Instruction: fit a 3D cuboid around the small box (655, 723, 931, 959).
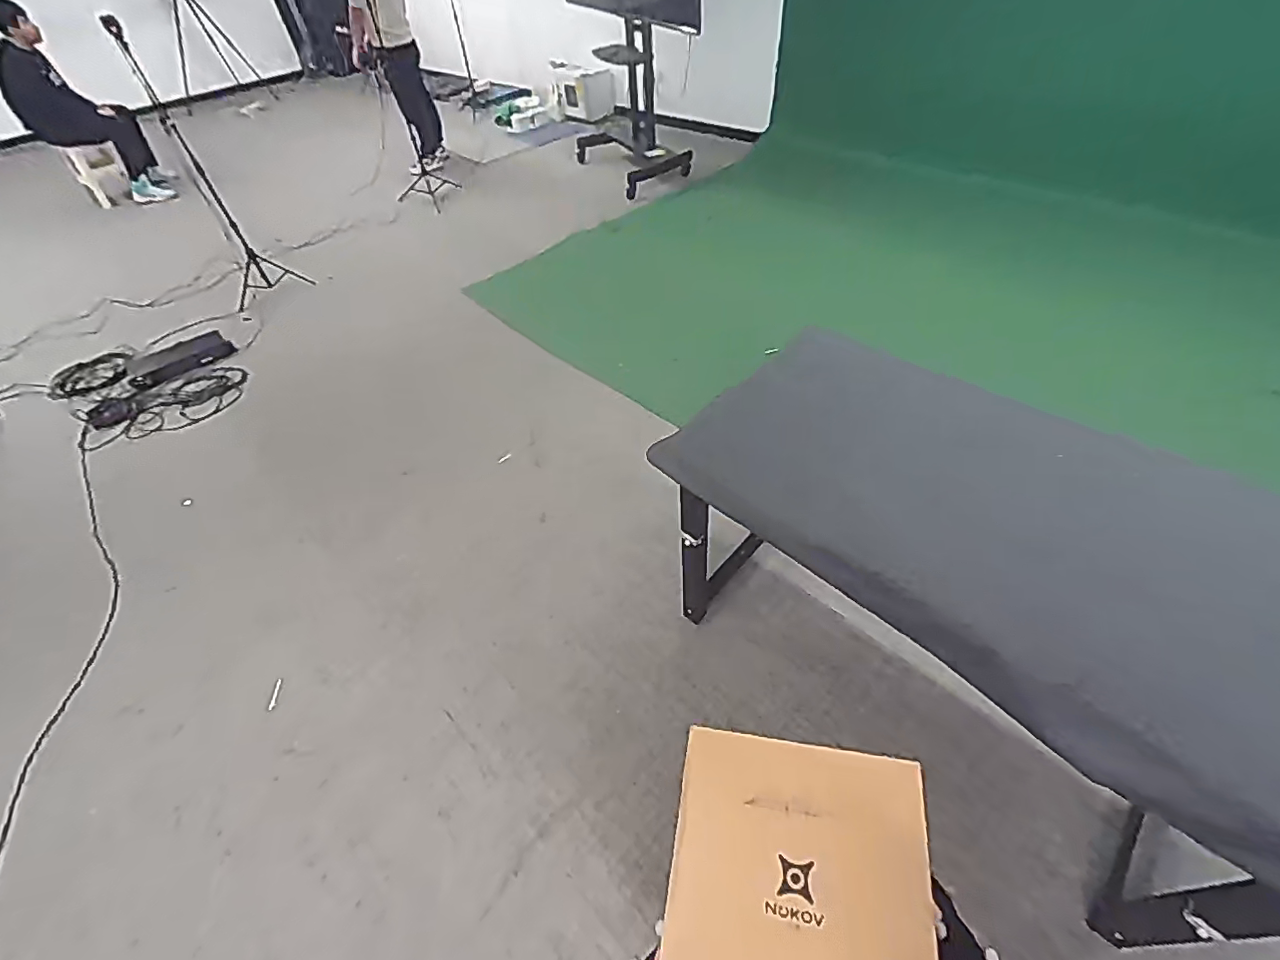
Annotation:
[{"bbox_3d":[0.113,0.311,0.416,0.168,0.176,0.179,3,53,14],"label":"small box"}]
